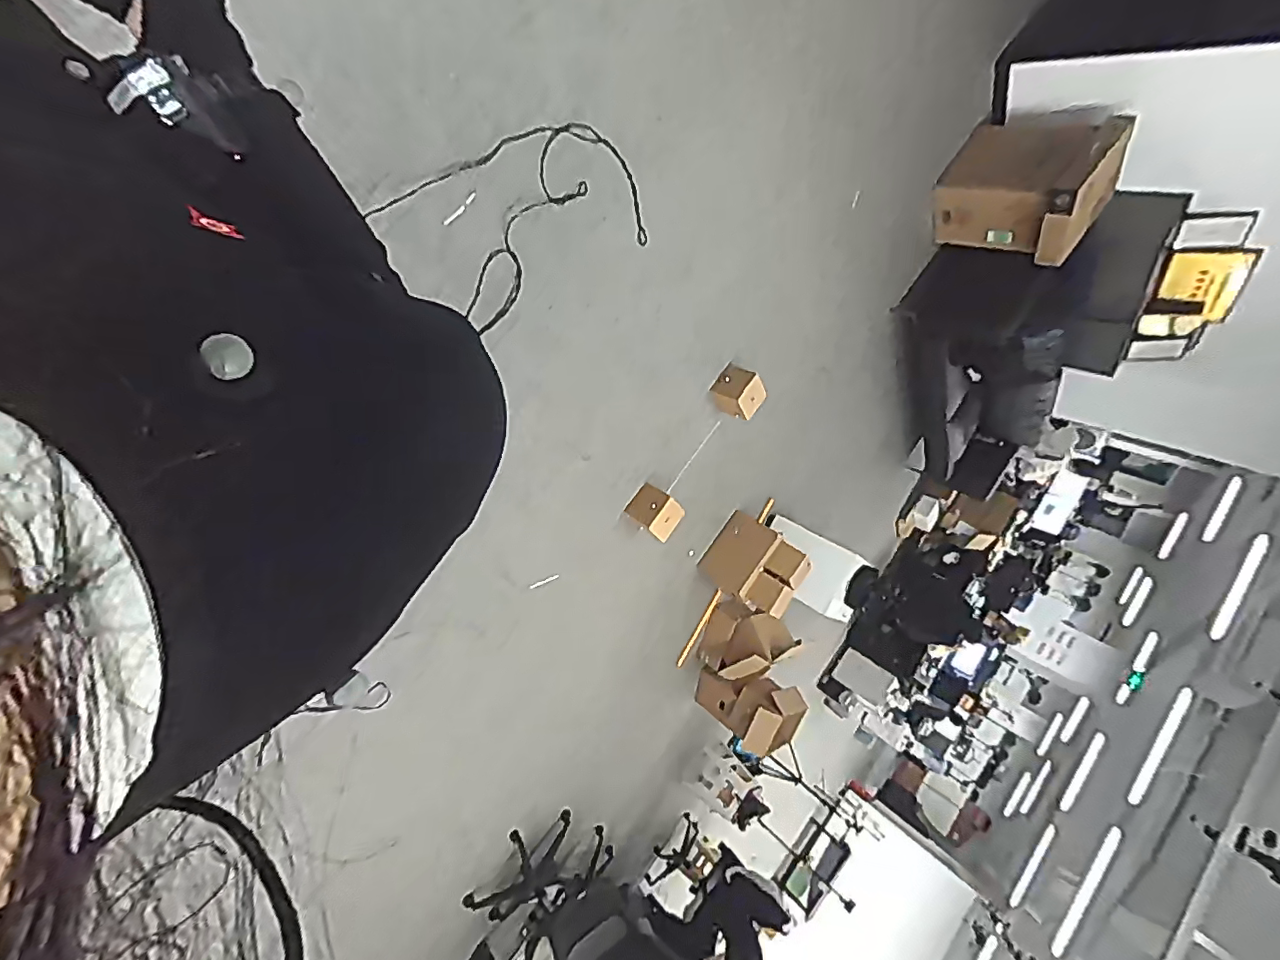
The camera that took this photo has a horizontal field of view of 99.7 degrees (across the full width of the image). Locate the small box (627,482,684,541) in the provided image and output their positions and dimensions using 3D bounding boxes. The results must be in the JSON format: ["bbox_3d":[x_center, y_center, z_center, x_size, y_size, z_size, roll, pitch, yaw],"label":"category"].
[{"bbox_3d":[0.064,0.141,2.445,0.179,0.176,0.168,-54,141,-9],"label":"small box"}]

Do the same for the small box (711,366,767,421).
[{"bbox_3d":[0.463,-0.409,2.534,0.168,0.176,0.179,-53,142,-9],"label":"small box"}]
